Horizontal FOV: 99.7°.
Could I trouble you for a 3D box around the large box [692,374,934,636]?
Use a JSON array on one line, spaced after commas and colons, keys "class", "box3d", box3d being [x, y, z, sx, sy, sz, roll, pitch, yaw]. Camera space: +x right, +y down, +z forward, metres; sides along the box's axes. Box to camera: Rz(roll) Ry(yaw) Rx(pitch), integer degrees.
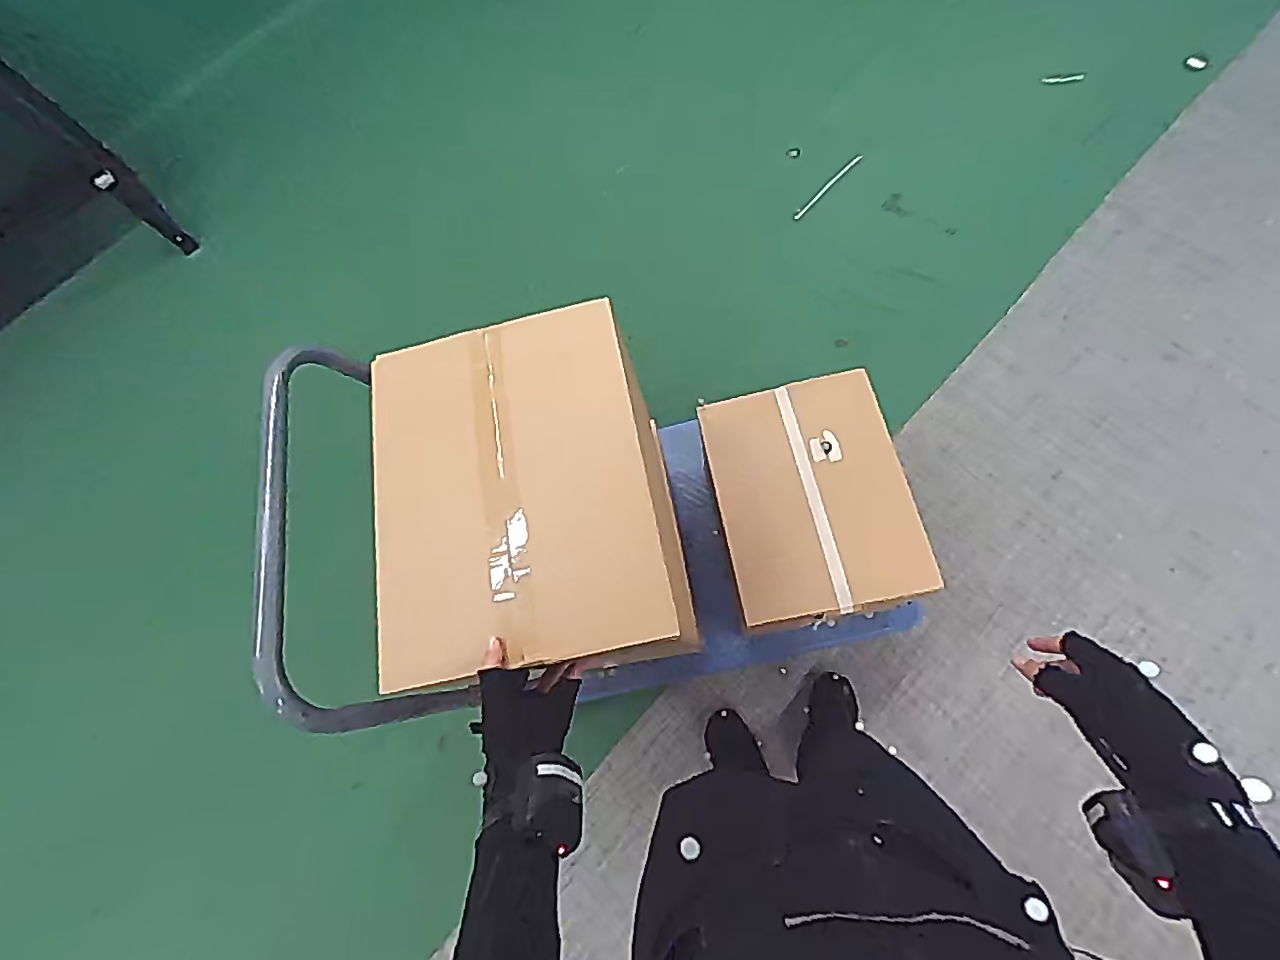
[{"class": "large box", "box3d": [0.306, 0.069, 1.064, 0.320, 0.320, 0.408, -12, 69, 6]}]
